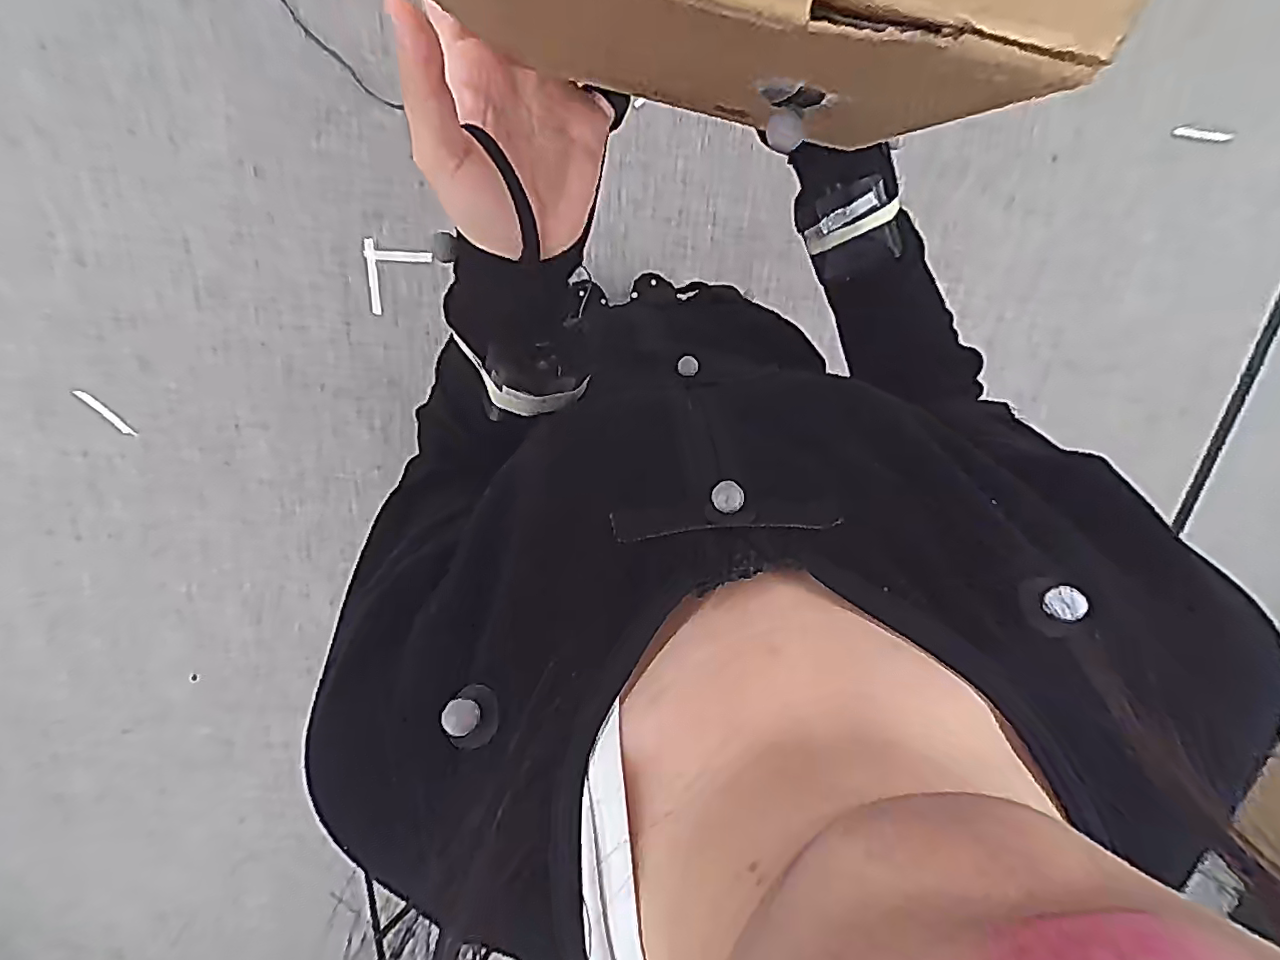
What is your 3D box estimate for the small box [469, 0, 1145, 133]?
[{"bbox_3d":[0.034,-0.207,0.133,0.168,0.176,0.179,11,117,-4],"label":"small box"}]
